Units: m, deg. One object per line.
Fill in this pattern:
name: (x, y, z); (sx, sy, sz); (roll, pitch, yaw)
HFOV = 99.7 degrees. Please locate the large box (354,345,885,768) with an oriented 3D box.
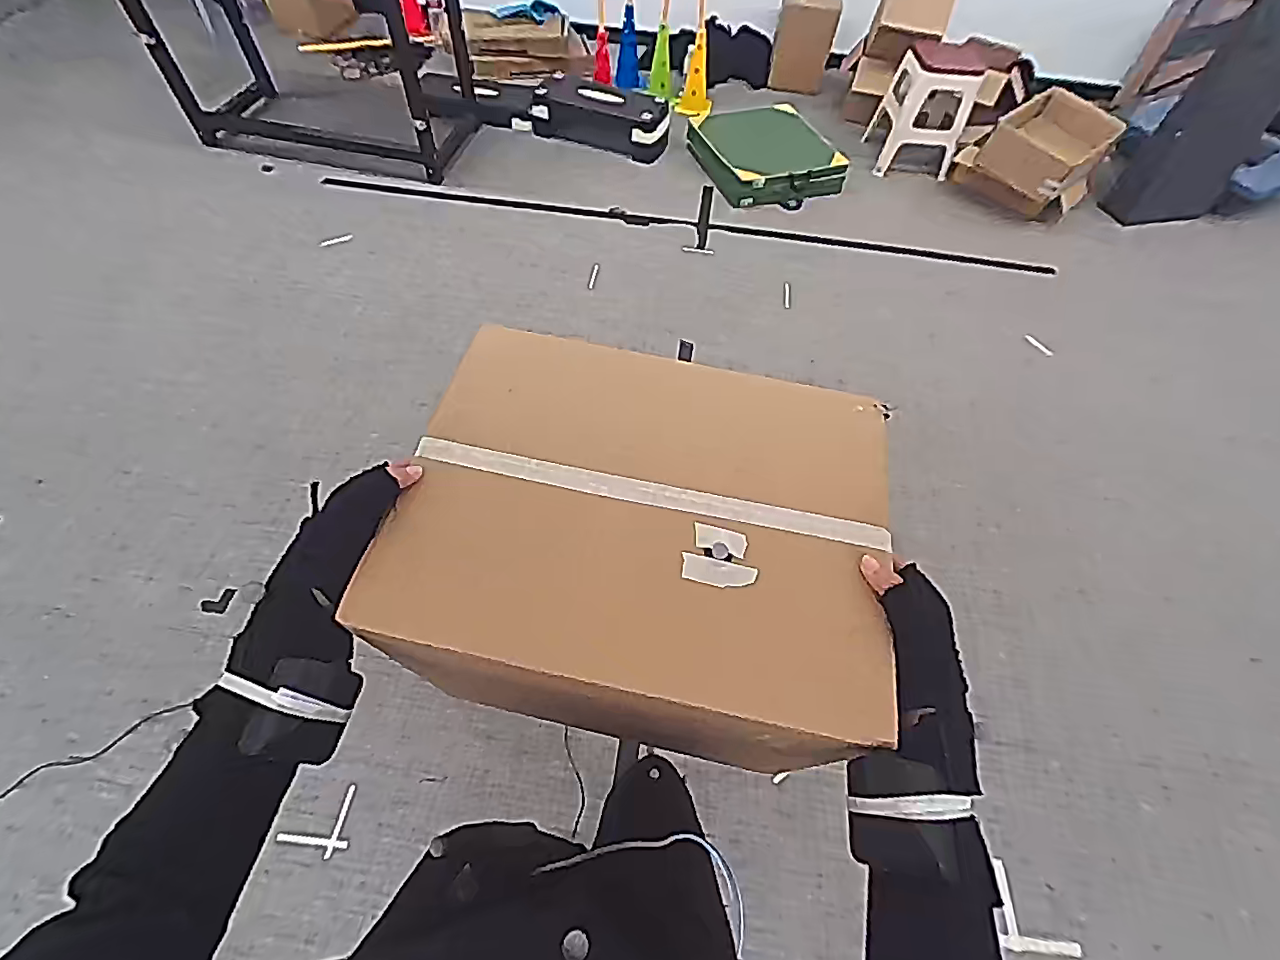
large box: (-0.003, 0.099, 0.594); (0.408, 0.320, 0.320); (12, 60, 3)
